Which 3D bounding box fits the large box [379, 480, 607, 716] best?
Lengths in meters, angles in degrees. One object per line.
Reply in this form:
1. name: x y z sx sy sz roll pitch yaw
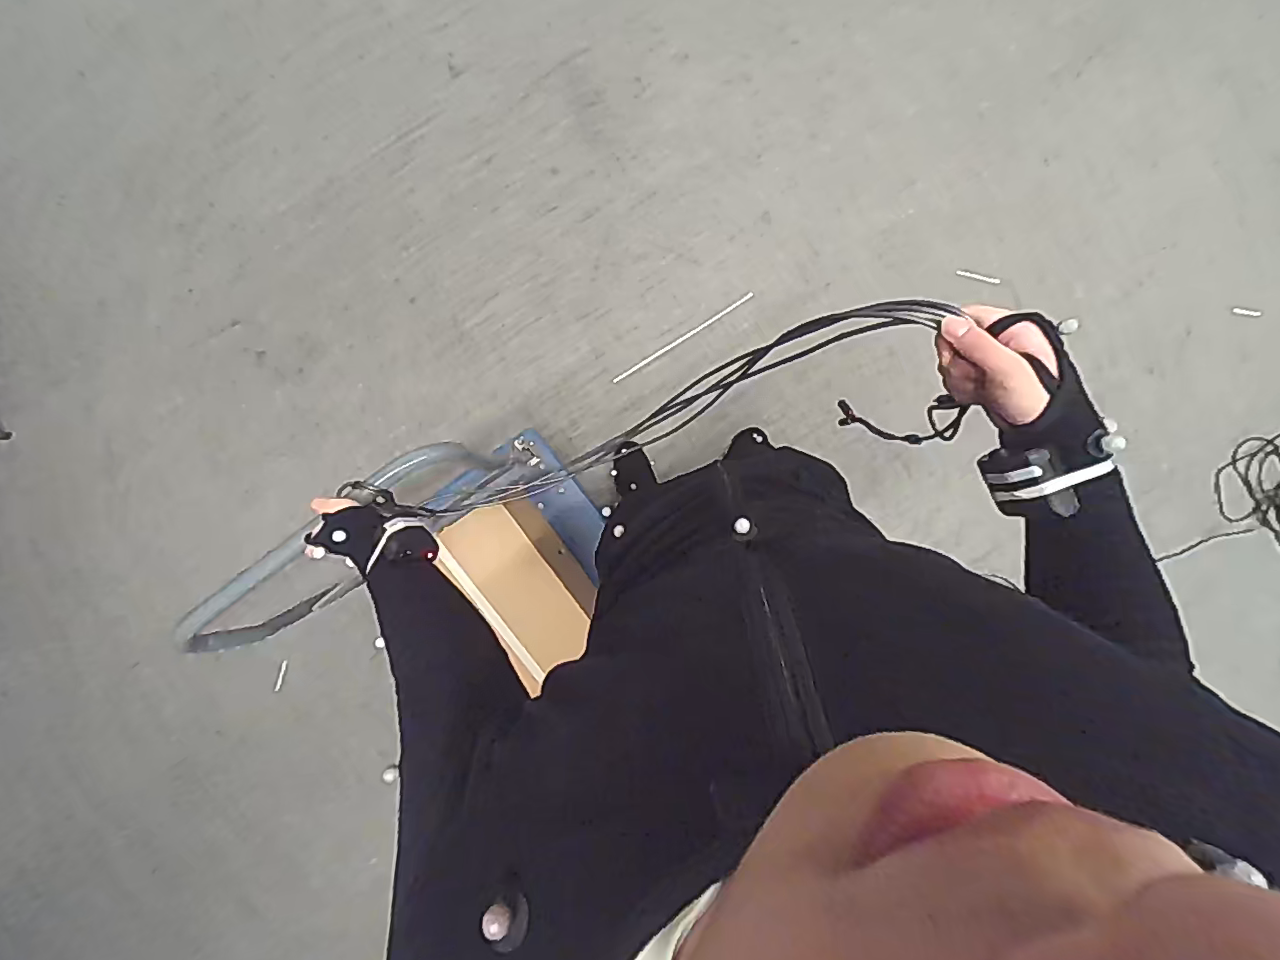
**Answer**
1. large box: -0.322 0.254 1.295 0.320 0.320 0.408 -36 96 -1
